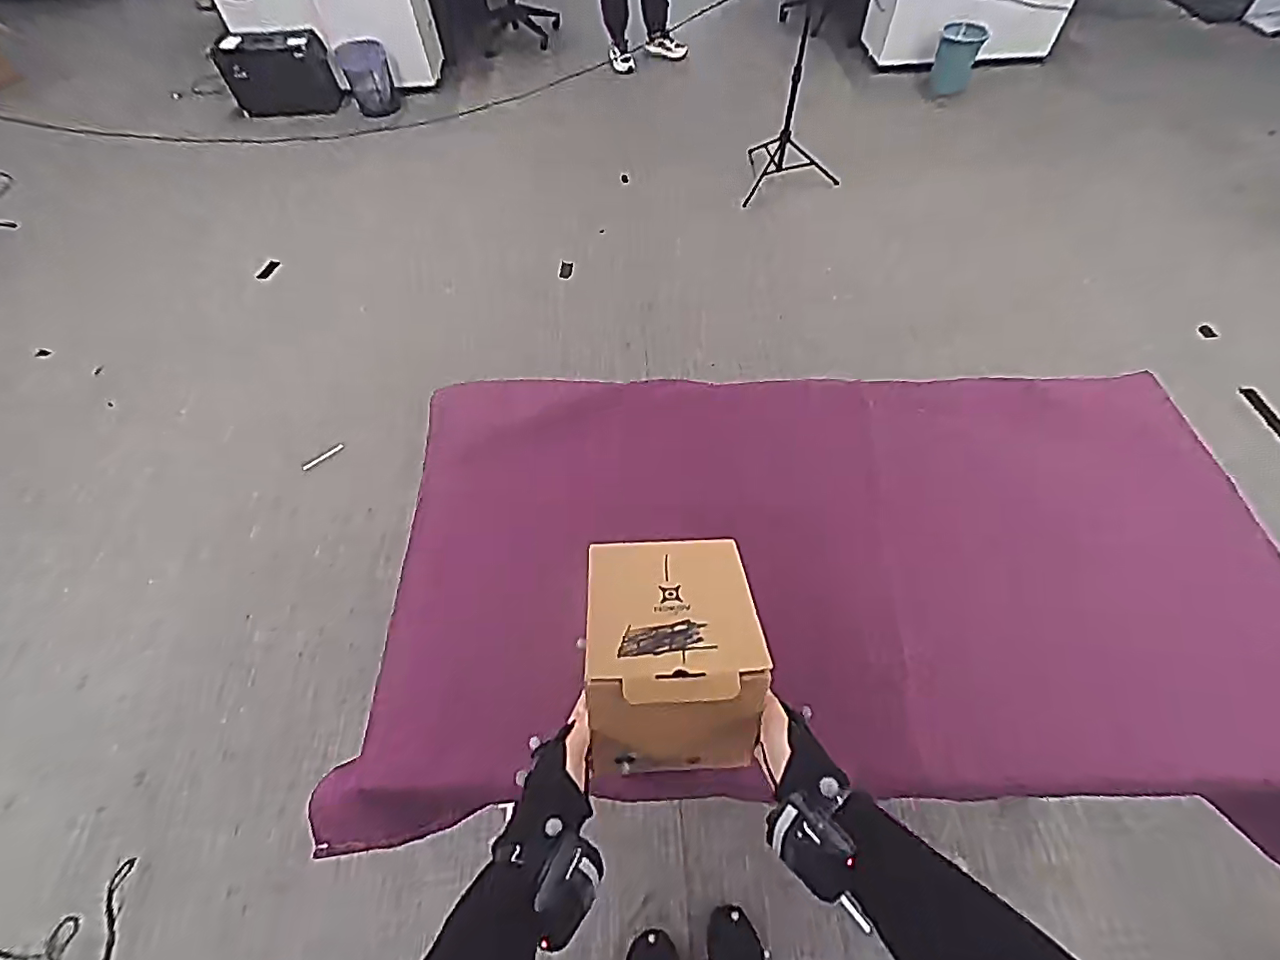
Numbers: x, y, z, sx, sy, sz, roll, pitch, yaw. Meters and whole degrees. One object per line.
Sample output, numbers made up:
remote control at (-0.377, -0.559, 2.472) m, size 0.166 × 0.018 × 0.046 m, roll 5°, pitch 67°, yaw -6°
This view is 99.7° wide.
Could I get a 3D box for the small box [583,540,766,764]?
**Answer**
small box at (0.029, 0.187, 0.585) m, size 0.168 × 0.176 × 0.179 m, roll -2°, pitch 37°, yaw -3°
